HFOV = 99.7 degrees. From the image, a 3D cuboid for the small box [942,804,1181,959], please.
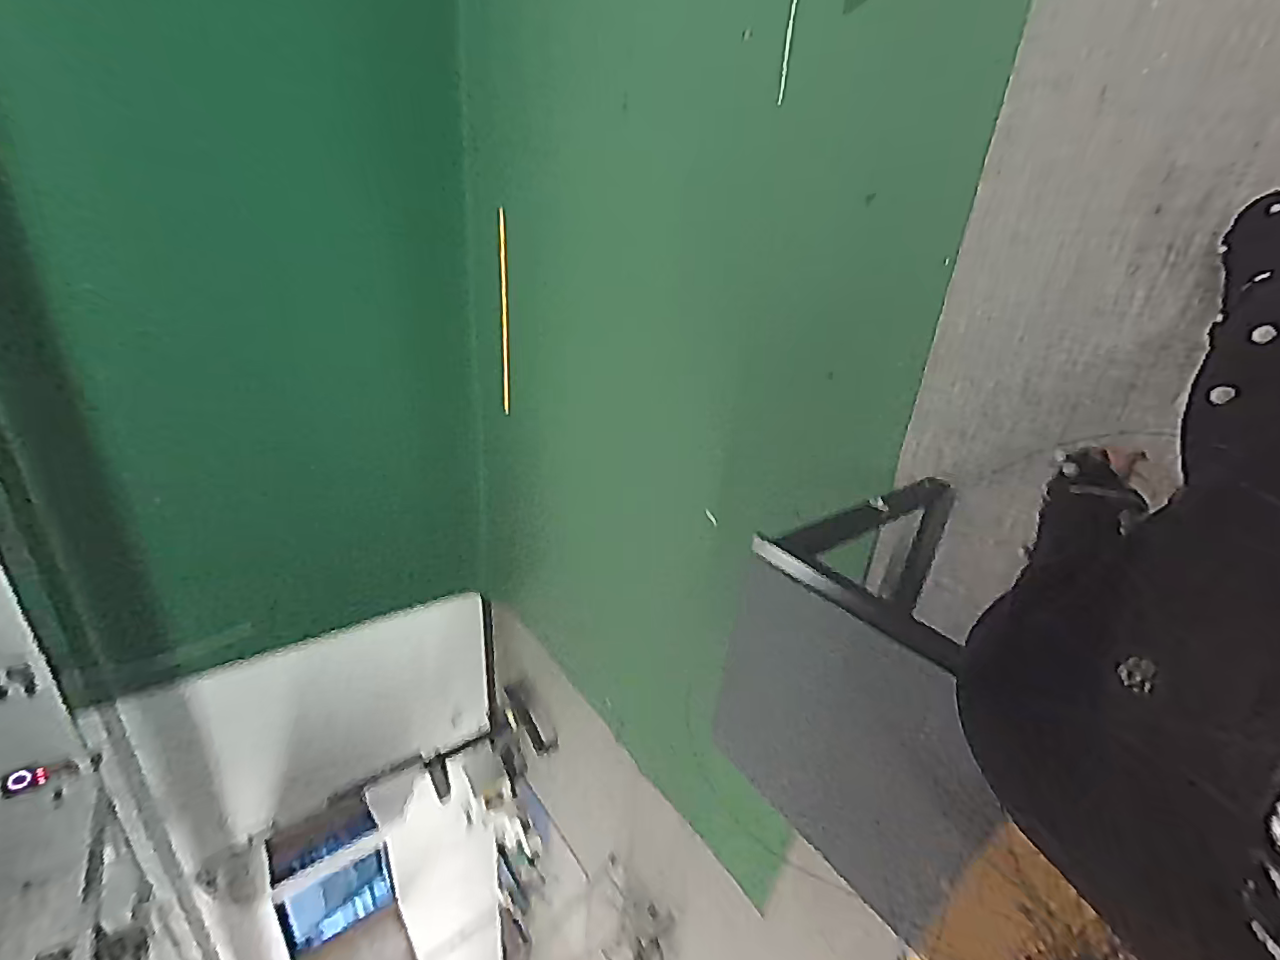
[{"bbox_3d":[0.525,0.564,0.679,0.168,0.176,0.179,33,126,44],"label":"small box"}]
